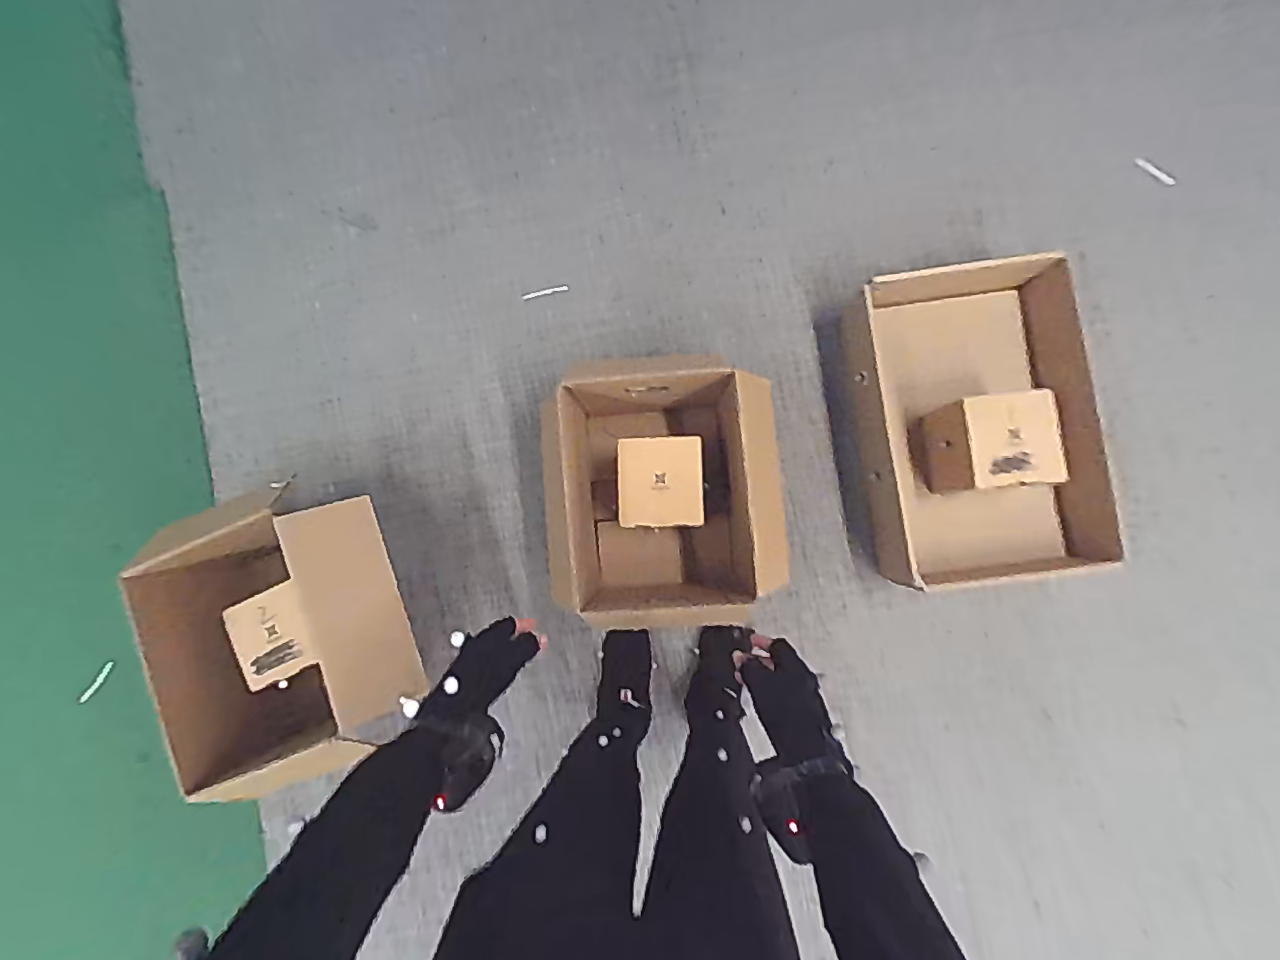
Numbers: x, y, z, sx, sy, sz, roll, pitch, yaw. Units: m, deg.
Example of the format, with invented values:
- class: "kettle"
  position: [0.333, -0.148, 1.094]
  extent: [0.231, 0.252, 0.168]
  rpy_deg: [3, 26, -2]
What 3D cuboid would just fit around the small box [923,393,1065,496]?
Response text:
- class: "small box"
  position: [0.692, -0.062, 1.075]
  extent: [0.168, 0.176, 0.179]
  rpy_deg: [-5, 84, 2]
